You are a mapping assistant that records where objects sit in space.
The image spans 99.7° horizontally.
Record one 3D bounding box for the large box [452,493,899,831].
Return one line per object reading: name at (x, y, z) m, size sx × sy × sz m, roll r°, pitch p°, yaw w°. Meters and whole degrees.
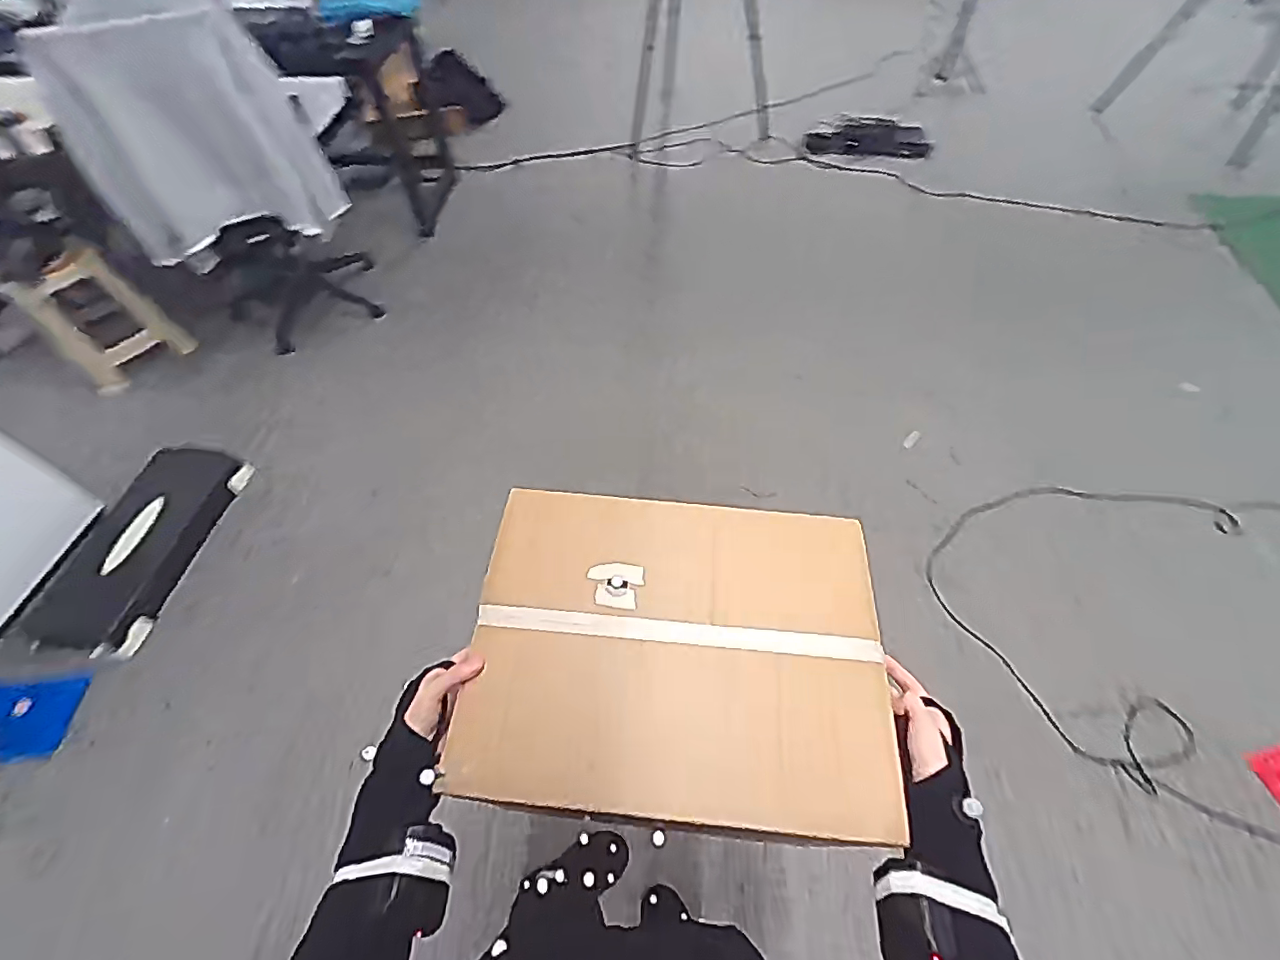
large box at (0.044, 0.238, 0.680) m, size 0.408 × 0.320 × 0.320 m, roll 5°, pitch 56°, yaw 4°
